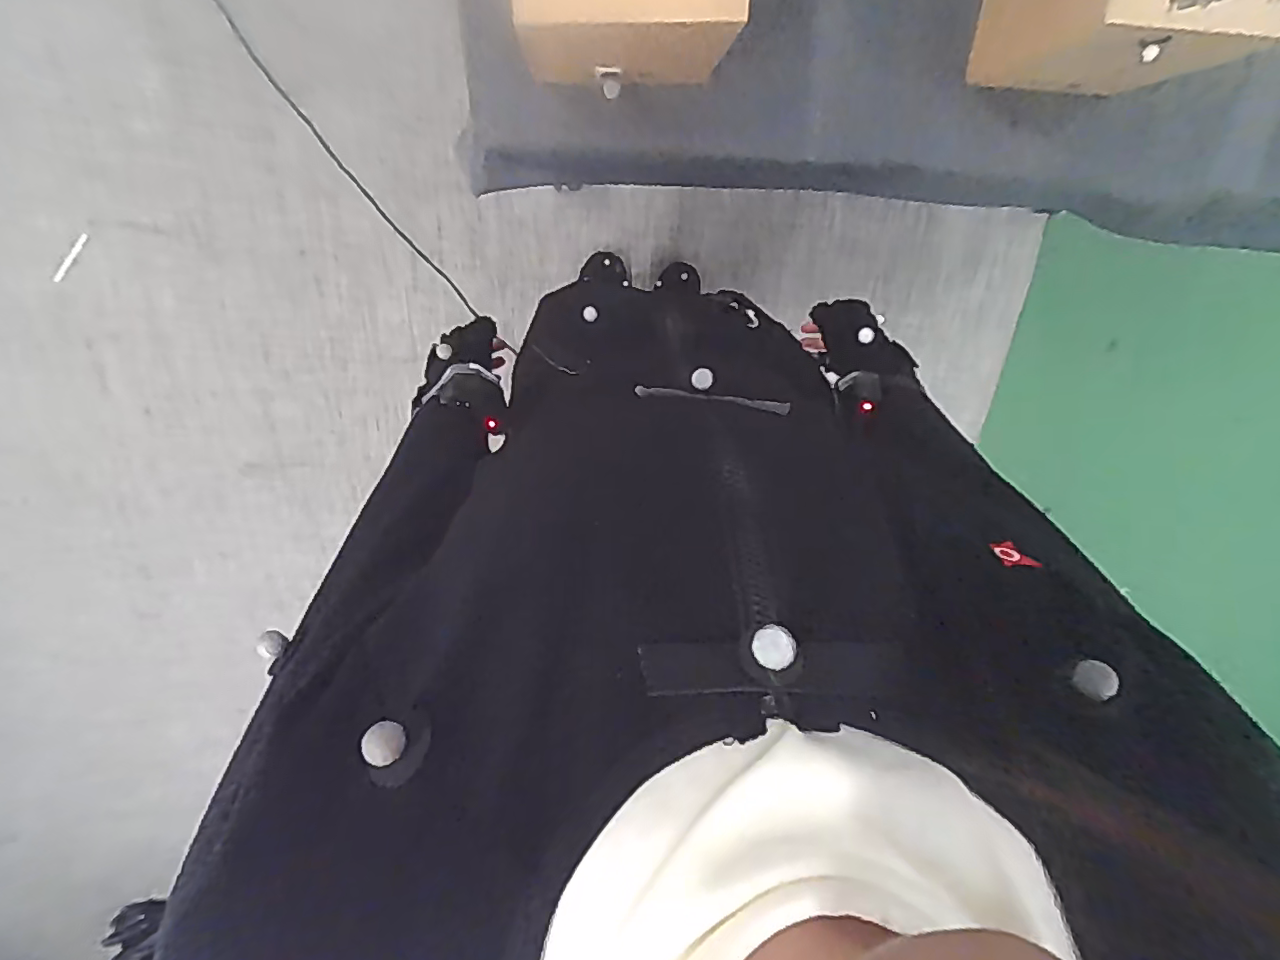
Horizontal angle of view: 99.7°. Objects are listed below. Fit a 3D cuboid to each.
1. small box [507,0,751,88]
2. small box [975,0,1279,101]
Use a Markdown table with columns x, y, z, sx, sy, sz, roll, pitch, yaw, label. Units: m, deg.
| x | y | z | sx | sy | sz | roll | pitch | yaw | label |
| --- | --- | --- | --- | --- | --- | --- | --- | --- | --- |
| -0.010 | -0.418 | 0.396 | 0.168 | 0.176 | 0.179 | 0 | 114 | -2 | small box |
| 0.416 | -0.441 | 0.441 | 0.168 | 0.176 | 0.179 | 1 | 113 | -5 | small box |
